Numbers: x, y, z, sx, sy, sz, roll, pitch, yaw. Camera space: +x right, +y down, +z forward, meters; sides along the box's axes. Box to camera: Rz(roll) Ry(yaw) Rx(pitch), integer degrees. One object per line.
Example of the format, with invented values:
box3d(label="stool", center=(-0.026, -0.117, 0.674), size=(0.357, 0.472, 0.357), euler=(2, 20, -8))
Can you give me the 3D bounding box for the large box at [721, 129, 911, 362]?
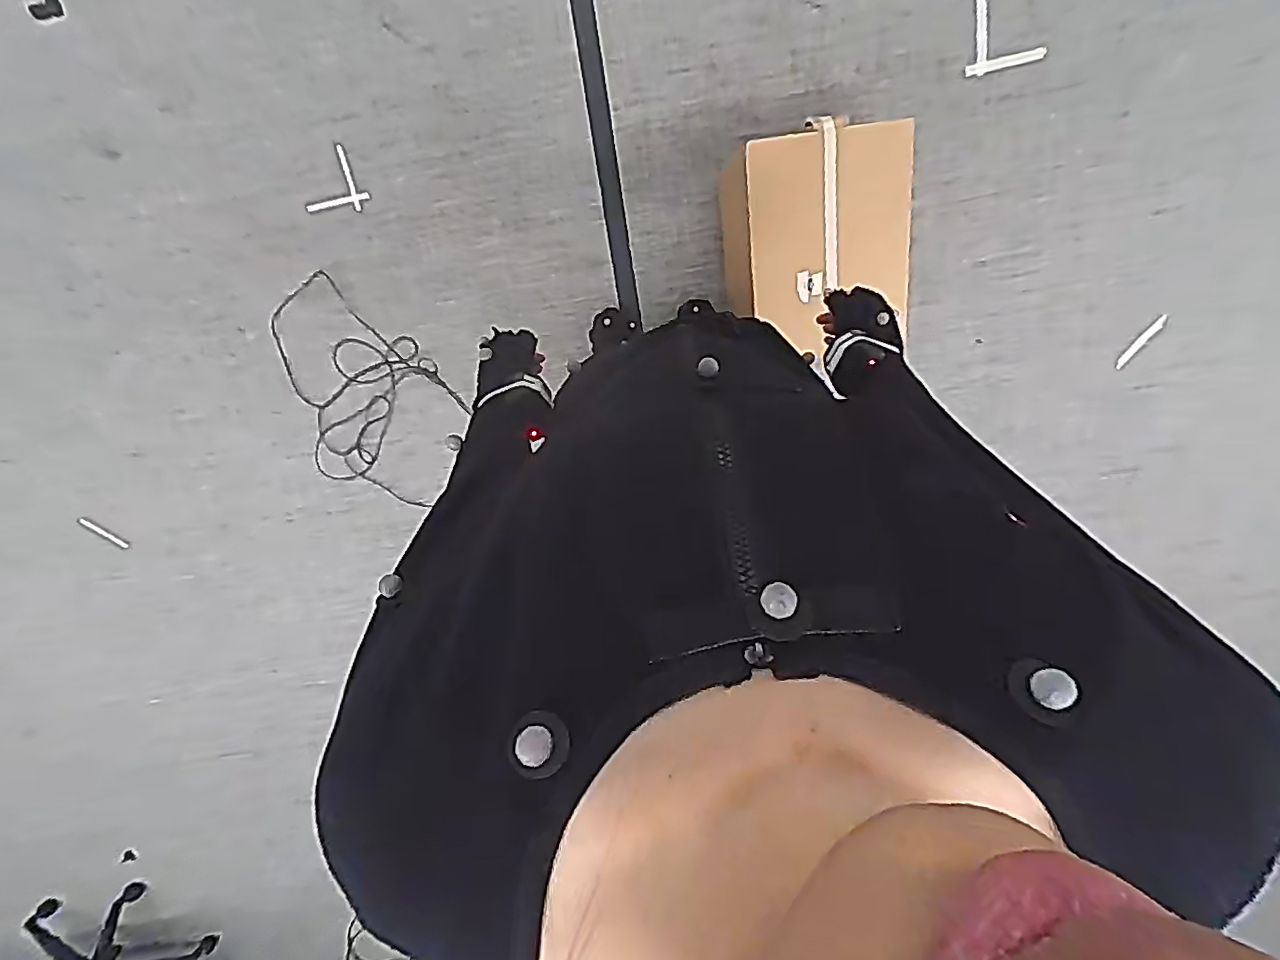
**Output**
box3d(label="large box", center=(0.375, -0.506, 1.217), size=(0.320, 0.320, 0.408), euler=(-7, 111, 1))
